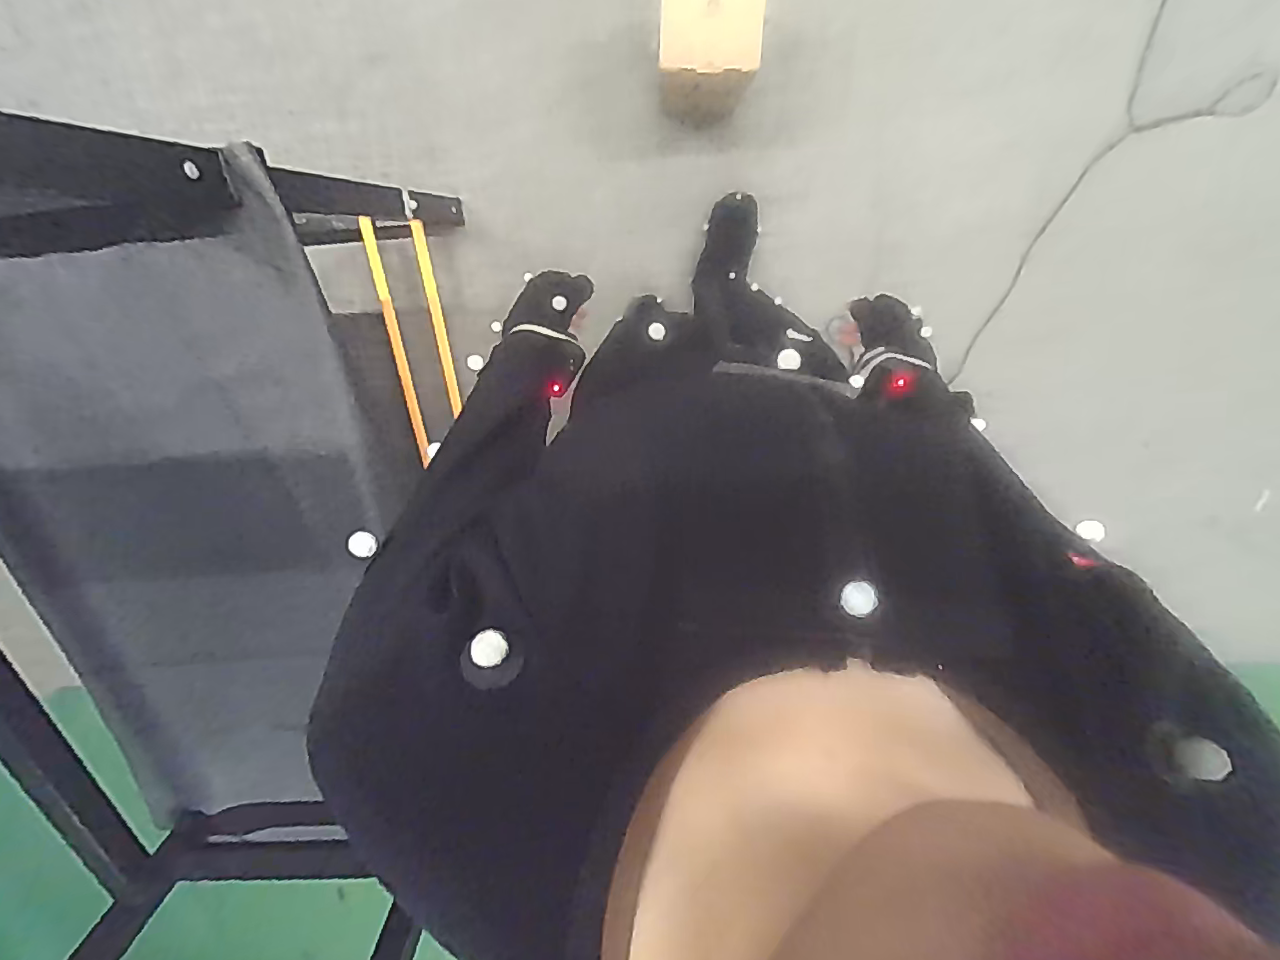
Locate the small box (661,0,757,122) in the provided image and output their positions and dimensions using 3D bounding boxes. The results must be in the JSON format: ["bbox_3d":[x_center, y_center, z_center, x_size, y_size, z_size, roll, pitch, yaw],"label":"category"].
[{"bbox_3d":[0.129,-0.838,1.080,0.168,0.176,0.179,3,115,2],"label":"small box"}]
